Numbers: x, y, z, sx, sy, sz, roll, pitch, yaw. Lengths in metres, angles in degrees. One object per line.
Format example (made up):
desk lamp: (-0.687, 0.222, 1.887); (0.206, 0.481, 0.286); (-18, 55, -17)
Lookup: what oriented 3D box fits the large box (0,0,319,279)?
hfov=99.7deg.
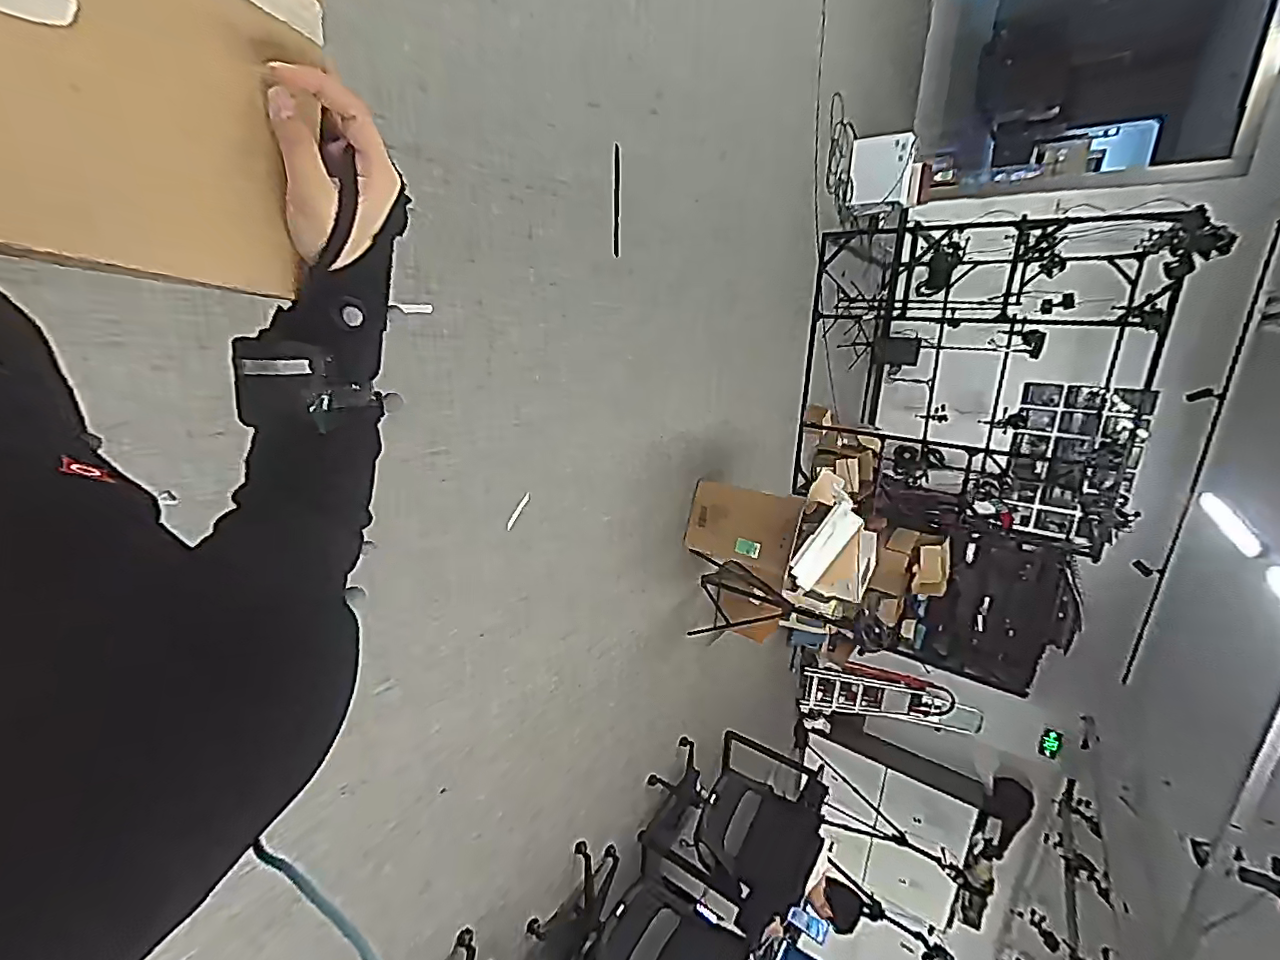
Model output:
large box: (-0.422, -0.292, 0.223); (0.408, 0.320, 0.320); (-10, 114, -61)
